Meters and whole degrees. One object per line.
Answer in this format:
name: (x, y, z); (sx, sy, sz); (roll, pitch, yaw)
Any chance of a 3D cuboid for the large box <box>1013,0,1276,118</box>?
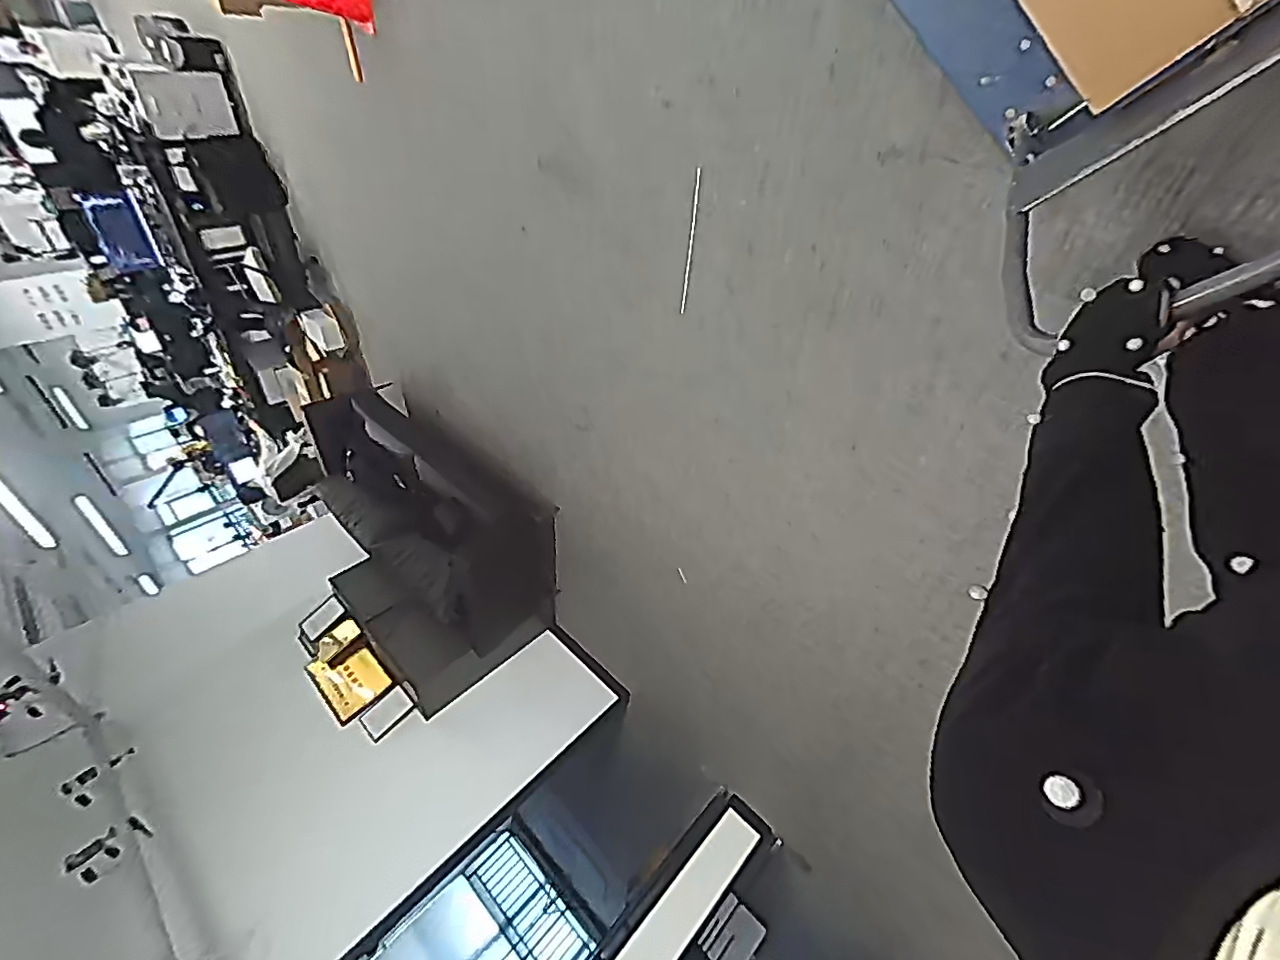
large box: (0.672, -0.794, 0.700); (0.408, 0.320, 0.320); (43, 145, -12)
